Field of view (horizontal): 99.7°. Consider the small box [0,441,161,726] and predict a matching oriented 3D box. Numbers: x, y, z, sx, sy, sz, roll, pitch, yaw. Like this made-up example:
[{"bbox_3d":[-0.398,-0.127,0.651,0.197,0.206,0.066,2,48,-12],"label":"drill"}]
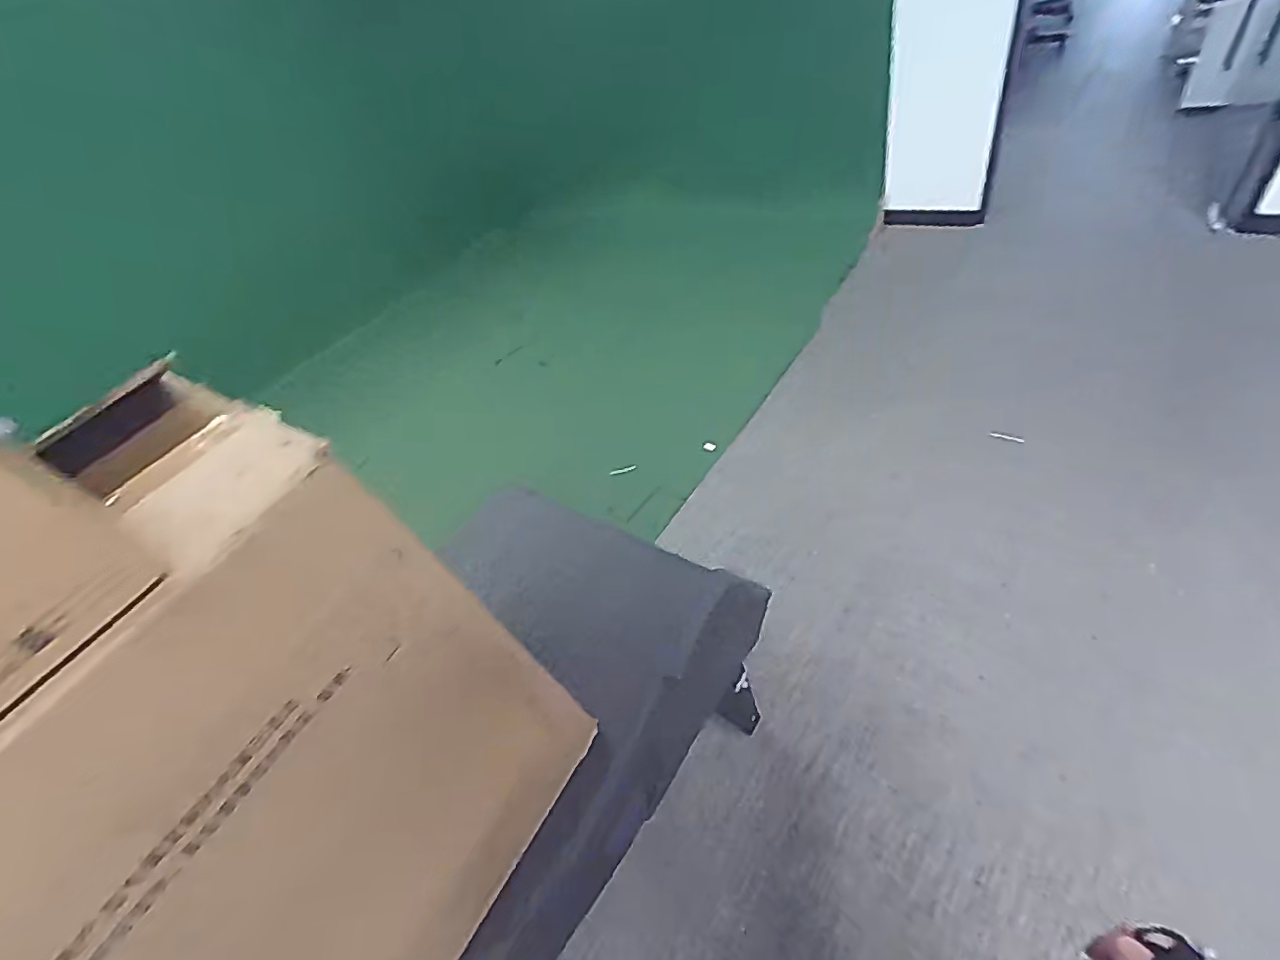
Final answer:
[{"bbox_3d":[-0.427,0.046,0.291,0.179,0.176,0.168,18,57,31],"label":"small box"}]
